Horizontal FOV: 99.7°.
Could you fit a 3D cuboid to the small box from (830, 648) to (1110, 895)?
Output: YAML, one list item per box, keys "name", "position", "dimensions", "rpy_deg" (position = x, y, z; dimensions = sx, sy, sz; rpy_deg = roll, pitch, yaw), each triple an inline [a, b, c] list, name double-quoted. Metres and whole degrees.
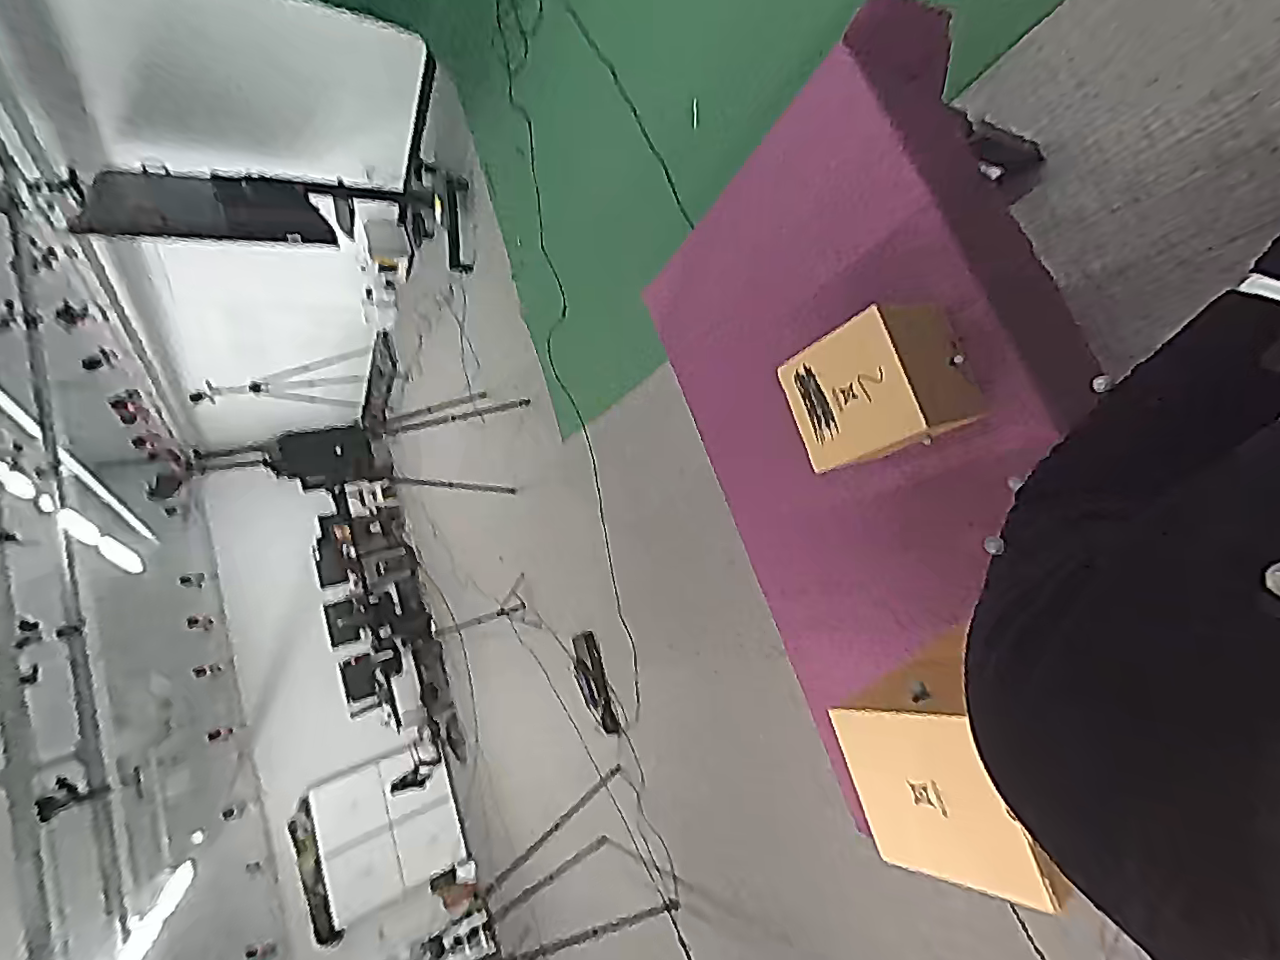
- name: "small box"
  position: [0.350, 0.291, 0.586]
  dimensions: [0.179, 0.176, 0.168]
  rpy_deg: [-32, 73, 54]
